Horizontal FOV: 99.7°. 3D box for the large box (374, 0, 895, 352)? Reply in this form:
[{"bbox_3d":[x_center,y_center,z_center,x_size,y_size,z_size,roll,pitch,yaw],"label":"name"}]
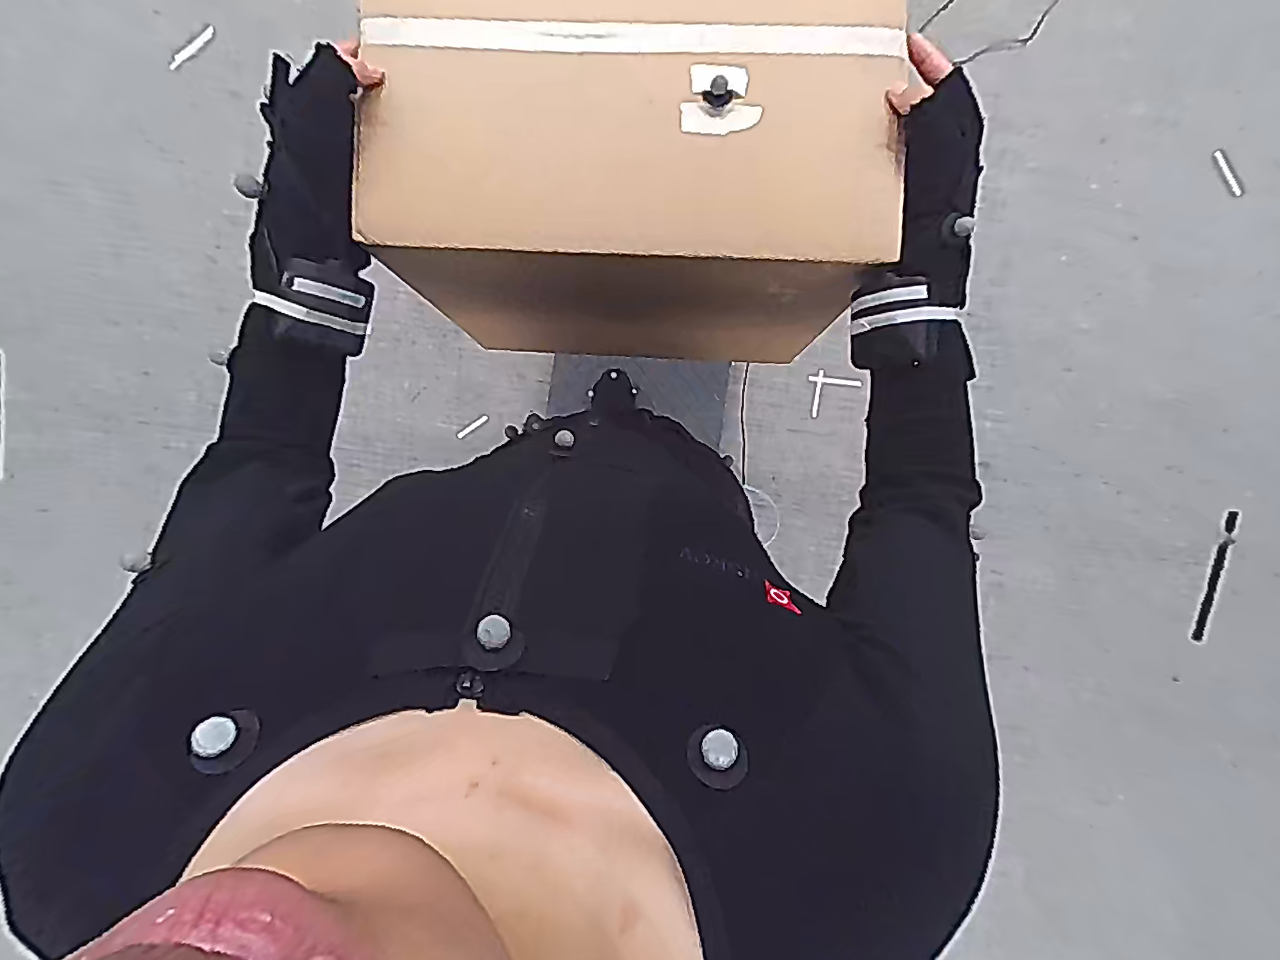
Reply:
[{"bbox_3d":[-0.003,-0.329,0.567,0.408,0.320,0.320,3,89,1],"label":"large box"}]
